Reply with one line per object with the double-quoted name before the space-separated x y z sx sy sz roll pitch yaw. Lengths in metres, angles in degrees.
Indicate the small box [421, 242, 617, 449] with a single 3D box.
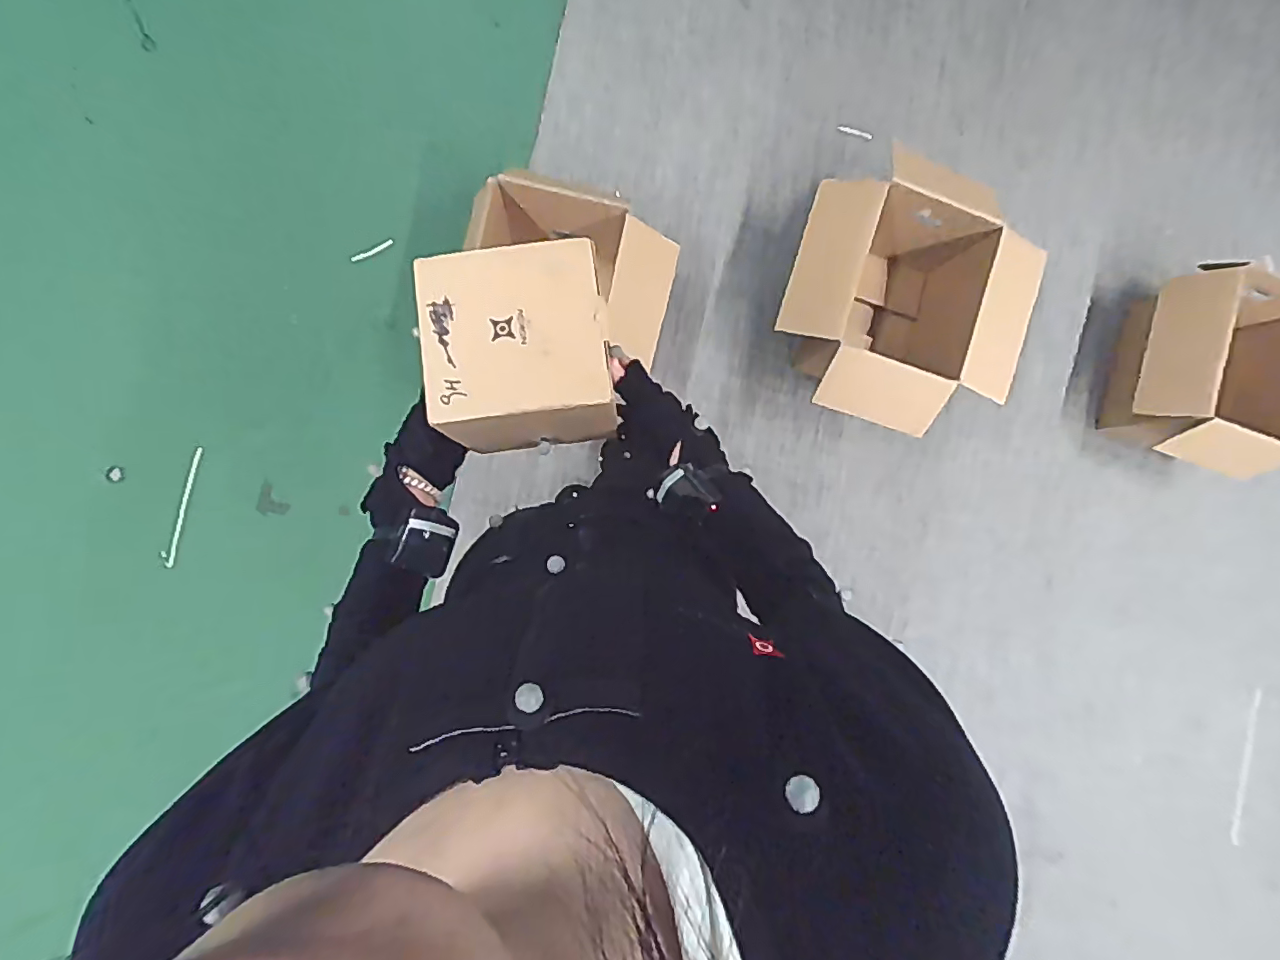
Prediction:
"small box" -0.121 -0.135 0.596 0.179 0.176 0.168 -6 82 -3
